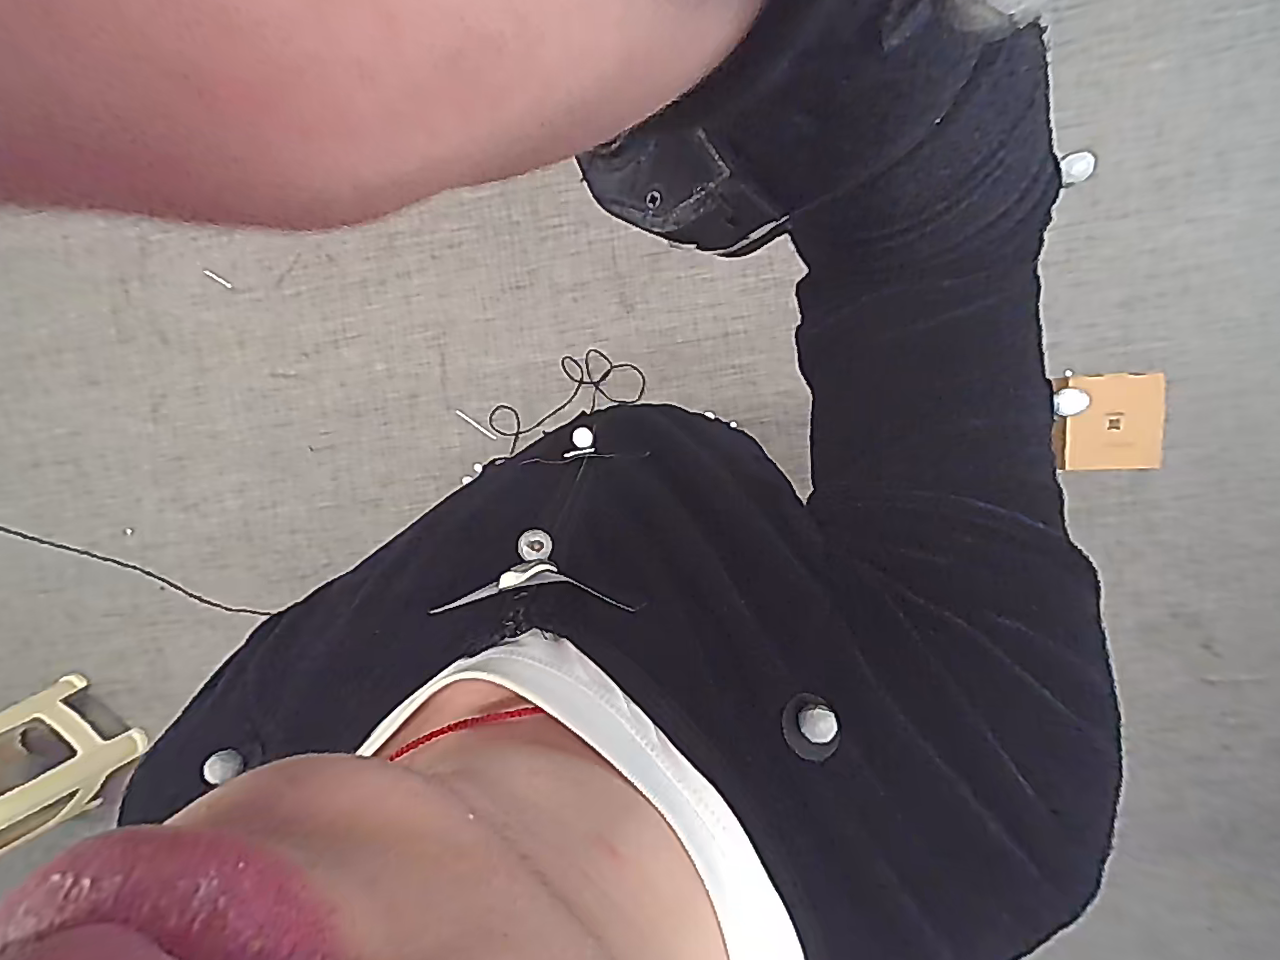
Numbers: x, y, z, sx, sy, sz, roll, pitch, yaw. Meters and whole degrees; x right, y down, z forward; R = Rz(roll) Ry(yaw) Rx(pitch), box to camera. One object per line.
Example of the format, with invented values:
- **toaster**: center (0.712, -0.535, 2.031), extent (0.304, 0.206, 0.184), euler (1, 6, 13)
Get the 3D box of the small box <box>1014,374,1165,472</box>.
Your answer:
- **small box**: center (0.873, -0.112, 1.066), extent (0.168, 0.176, 0.179), euler (-2, 97, 6)
